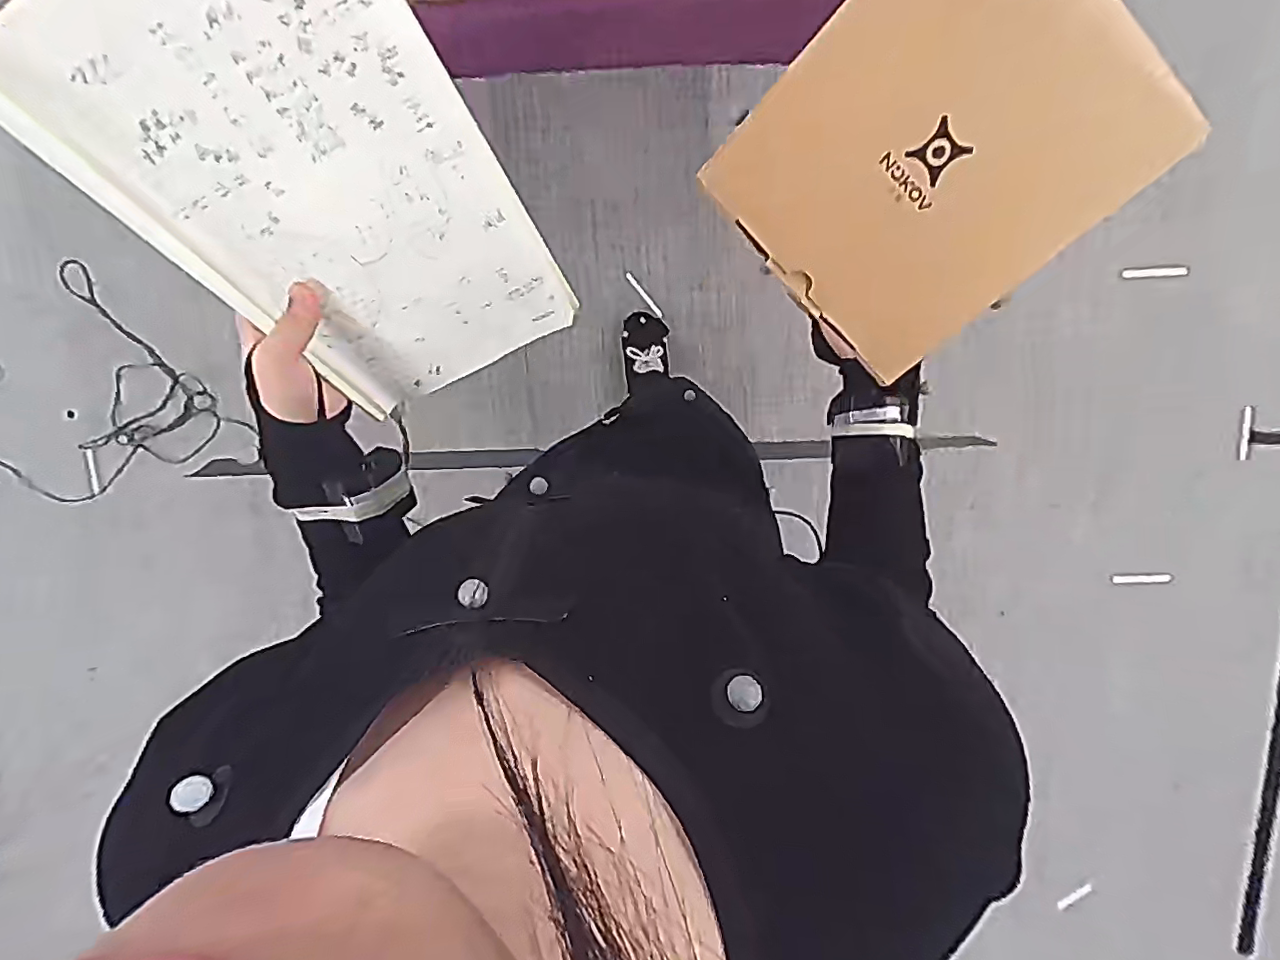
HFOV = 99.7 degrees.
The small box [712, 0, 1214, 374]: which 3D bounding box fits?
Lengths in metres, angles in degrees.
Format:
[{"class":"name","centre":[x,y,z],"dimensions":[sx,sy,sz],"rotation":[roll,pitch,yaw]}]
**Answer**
[{"class":"small box","centre":[0.166,-0.203,0.341],"dimensions":[0.168,0.176,0.179],"rotation":[43,118,-10]}]
